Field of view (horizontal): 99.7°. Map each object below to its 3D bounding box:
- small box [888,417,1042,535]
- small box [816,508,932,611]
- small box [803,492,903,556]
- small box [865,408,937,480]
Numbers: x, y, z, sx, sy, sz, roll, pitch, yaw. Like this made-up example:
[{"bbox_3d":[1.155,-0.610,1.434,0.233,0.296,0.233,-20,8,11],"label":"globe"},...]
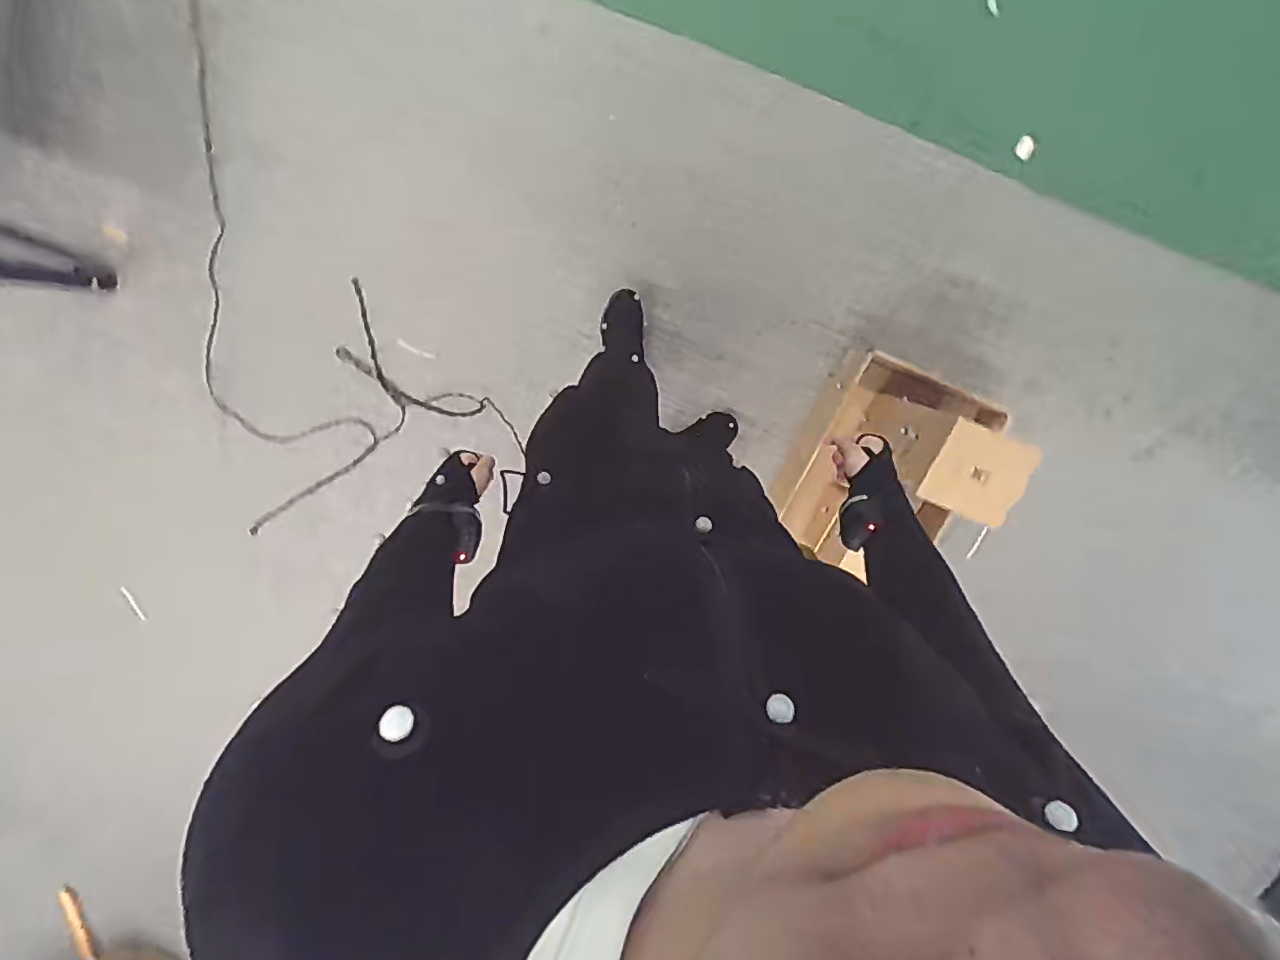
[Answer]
[{"bbox_3d":[0.642,-0.019,1.093,0.179,0.176,0.168,25,105,0],"label":"small box"},{"bbox_3d":[0.557,0.184,1.318,0.179,0.176,0.168,26,103,-2],"label":"small box"},{"bbox_3d":[0.570,0.146,1.478,0.179,0.176,0.168,26,103,-1],"label":"small box"},{"bbox_3d":[0.659,-0.057,1.251,0.179,0.176,0.168,24,104,-1],"label":"small box"}]
